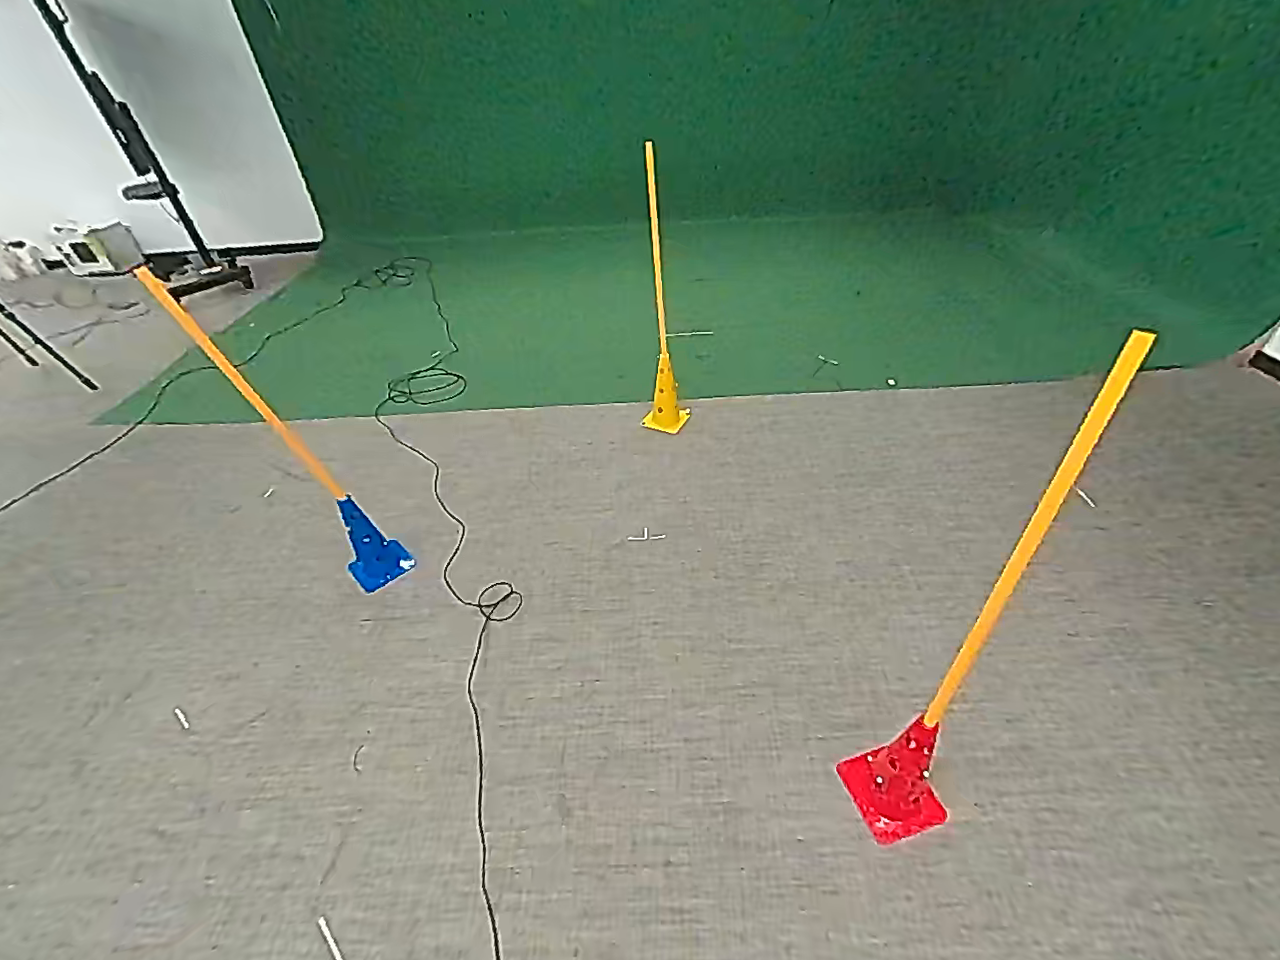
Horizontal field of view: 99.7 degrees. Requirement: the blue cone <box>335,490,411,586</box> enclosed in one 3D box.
[{"bbox_3d":[-0.993,0.187,1.937,0.192,0.380,0.193,31,53,33],"label":"blue cone"}]
